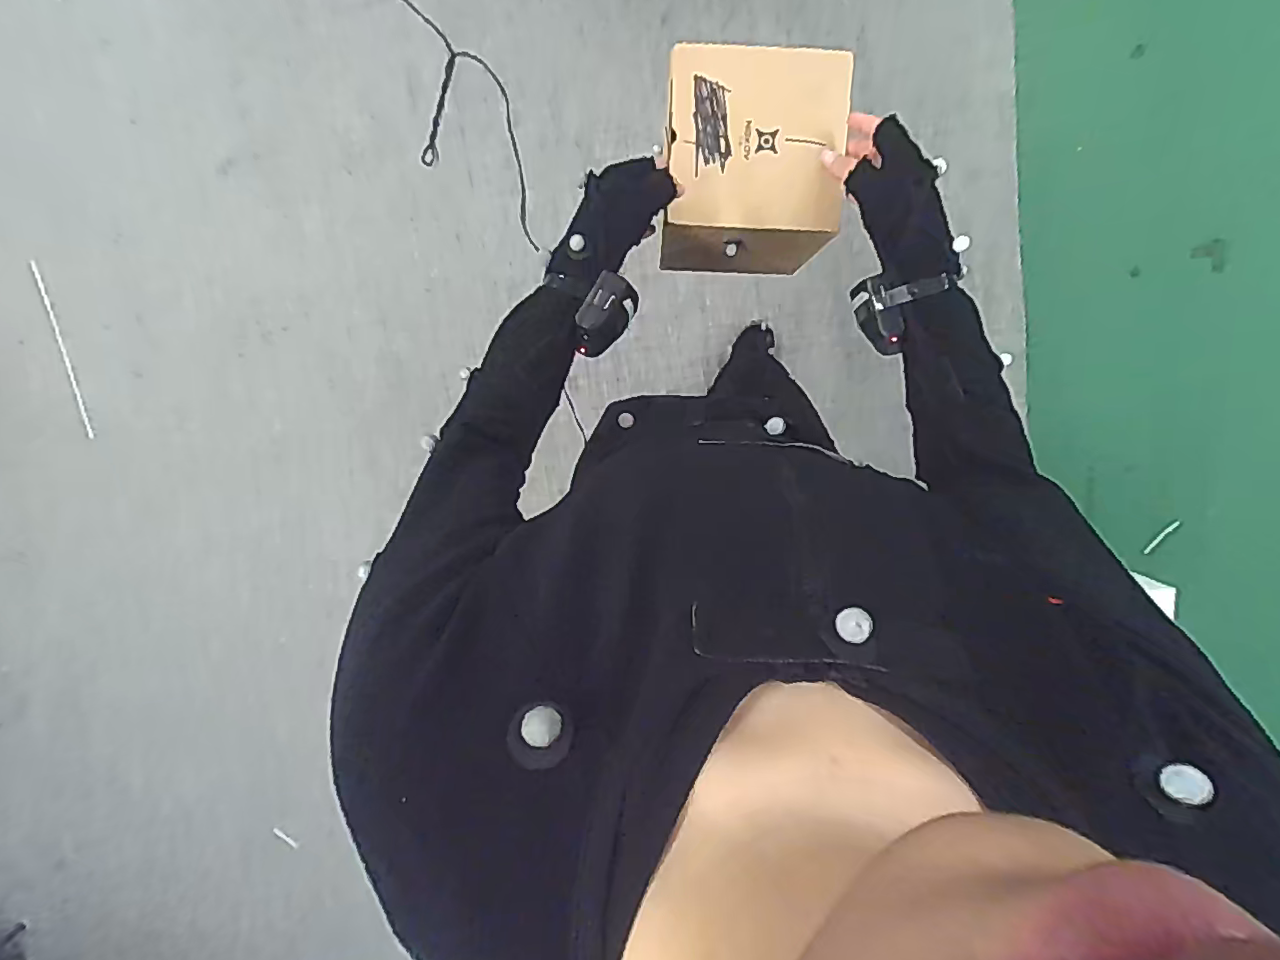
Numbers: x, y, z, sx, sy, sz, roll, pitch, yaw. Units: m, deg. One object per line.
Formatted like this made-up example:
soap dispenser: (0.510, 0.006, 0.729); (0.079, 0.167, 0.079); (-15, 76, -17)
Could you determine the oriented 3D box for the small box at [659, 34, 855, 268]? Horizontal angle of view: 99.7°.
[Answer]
small box: (0.113, -0.344, 0.598); (0.179, 0.176, 0.168); (3, 96, -1)
